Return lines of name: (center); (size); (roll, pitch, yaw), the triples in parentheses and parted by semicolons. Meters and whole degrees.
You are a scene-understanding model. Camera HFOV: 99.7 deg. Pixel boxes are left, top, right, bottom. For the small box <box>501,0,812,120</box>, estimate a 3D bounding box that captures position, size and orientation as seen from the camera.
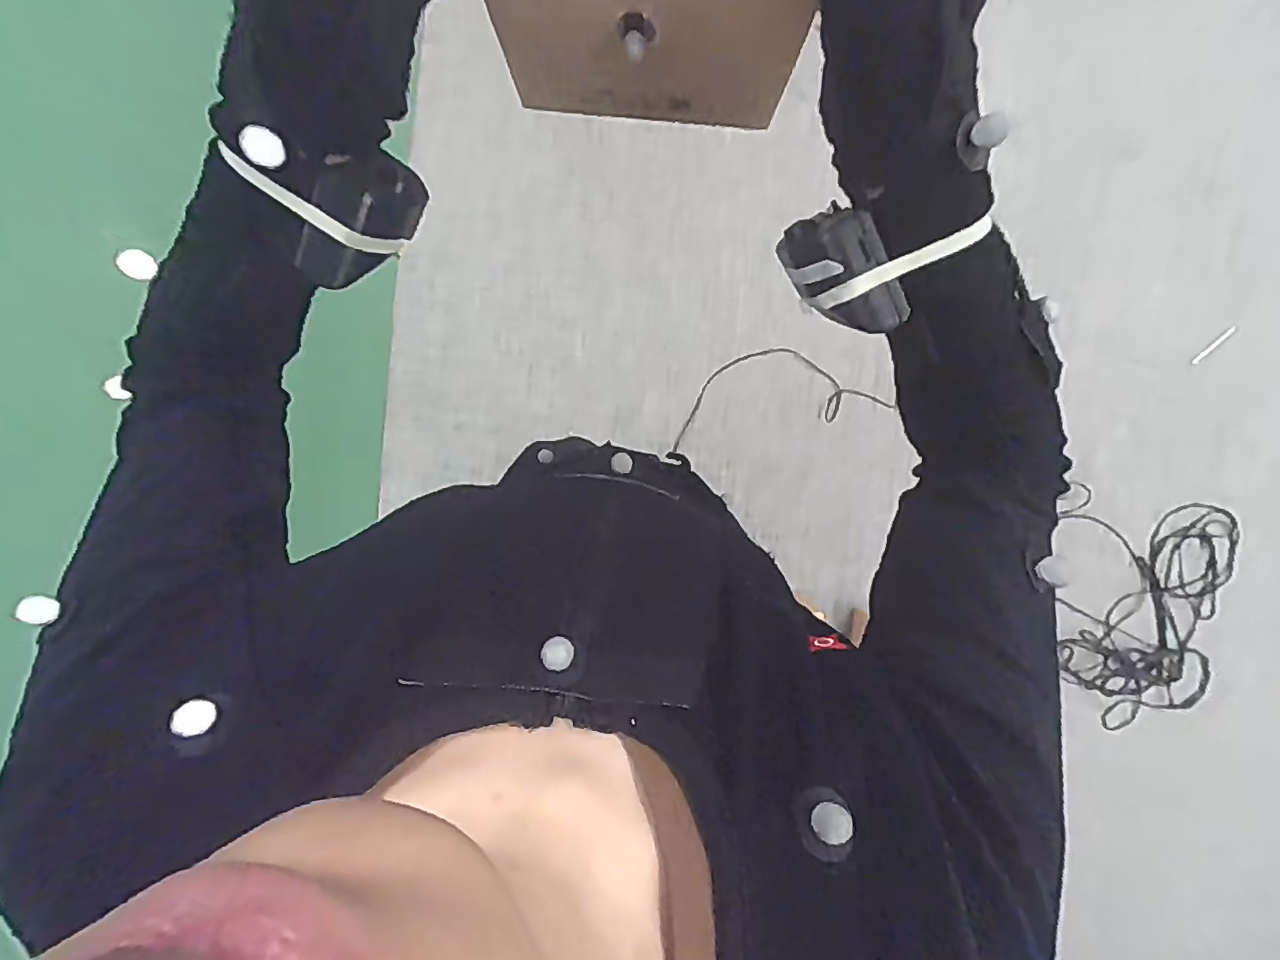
small box: (0.014, -0.324, 0.277); (0.168, 0.176, 0.179); (5, 93, -1)
